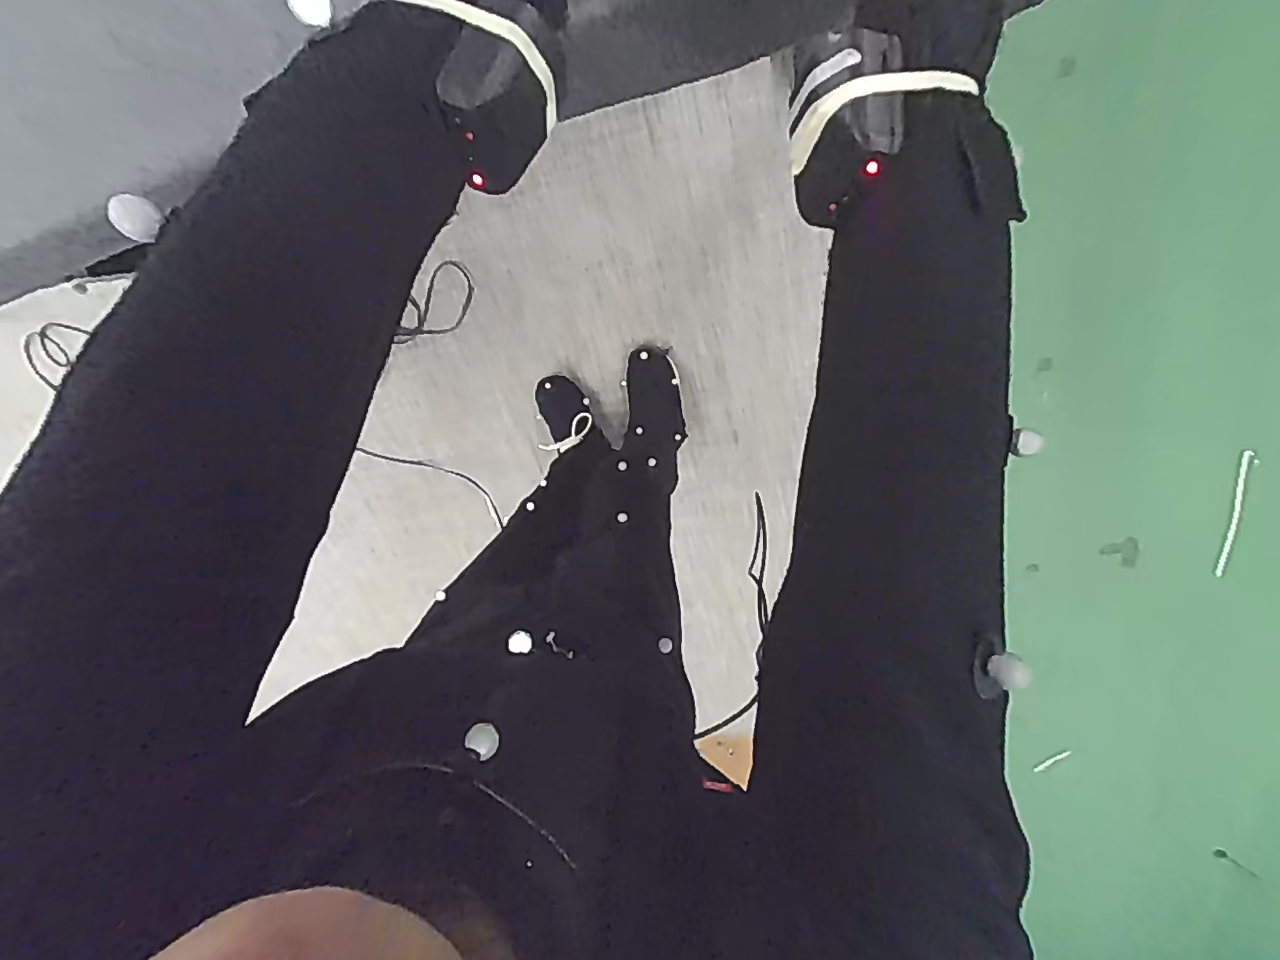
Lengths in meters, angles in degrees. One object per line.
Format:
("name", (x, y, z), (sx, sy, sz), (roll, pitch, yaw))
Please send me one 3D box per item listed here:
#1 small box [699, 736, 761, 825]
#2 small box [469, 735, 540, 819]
("small box", (0.272, 0.902, 1.630), (0.168, 0.176, 0.179), (-6, 114, 11))
("small box", (-0.435, 0.960, 1.759), (0.179, 0.176, 0.168), (5, 118, 5))
